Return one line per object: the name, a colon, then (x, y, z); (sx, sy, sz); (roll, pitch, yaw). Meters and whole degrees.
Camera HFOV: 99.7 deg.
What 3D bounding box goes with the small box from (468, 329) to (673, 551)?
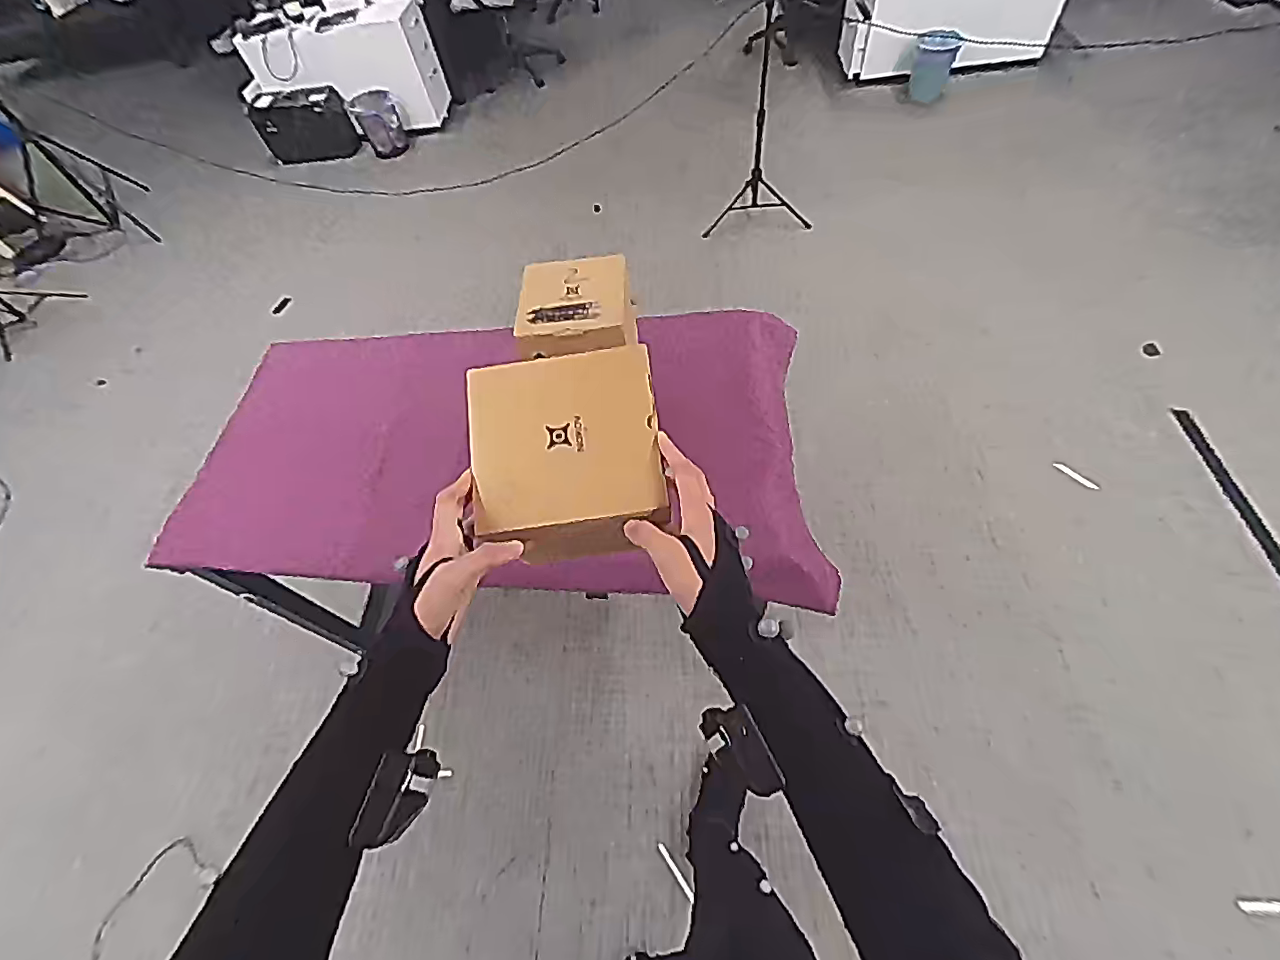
small box: (-0.063, -0.029, 0.561); (0.179, 0.176, 0.168); (-9, 72, 1)
